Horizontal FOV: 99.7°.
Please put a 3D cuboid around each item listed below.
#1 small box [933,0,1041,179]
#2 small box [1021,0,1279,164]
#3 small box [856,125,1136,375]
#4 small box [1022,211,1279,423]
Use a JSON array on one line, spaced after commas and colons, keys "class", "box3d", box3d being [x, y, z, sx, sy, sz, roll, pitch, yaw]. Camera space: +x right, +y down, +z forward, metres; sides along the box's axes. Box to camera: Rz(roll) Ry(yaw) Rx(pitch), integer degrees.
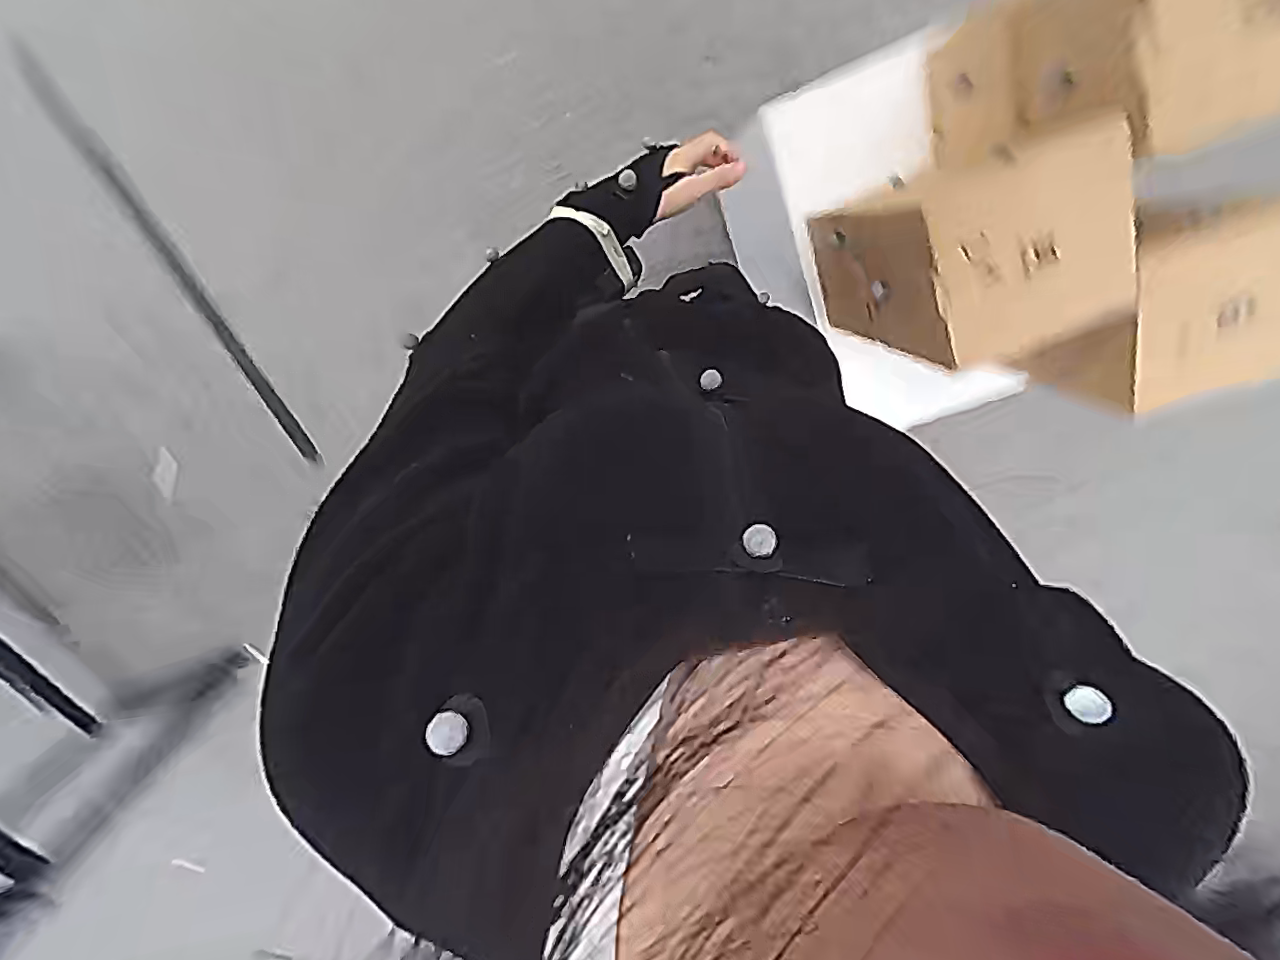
[{"class": "small box", "box3d": [0.472, -0.468, 0.643, 0.179, 0.176, 0.168, -16, 114, 6]}, {"class": "small box", "box3d": [0.485, -0.396, 0.496, 0.179, 0.176, 0.168, -17, 114, 7]}, {"class": "small box", "box3d": [0.356, -0.233, 0.563, 0.179, 0.176, 0.168, -21, 113, 7]}, {"class": "small box", "box3d": [0.562, -0.185, 0.591, 0.179, 0.176, 0.168, -16, 113, 8]}]
